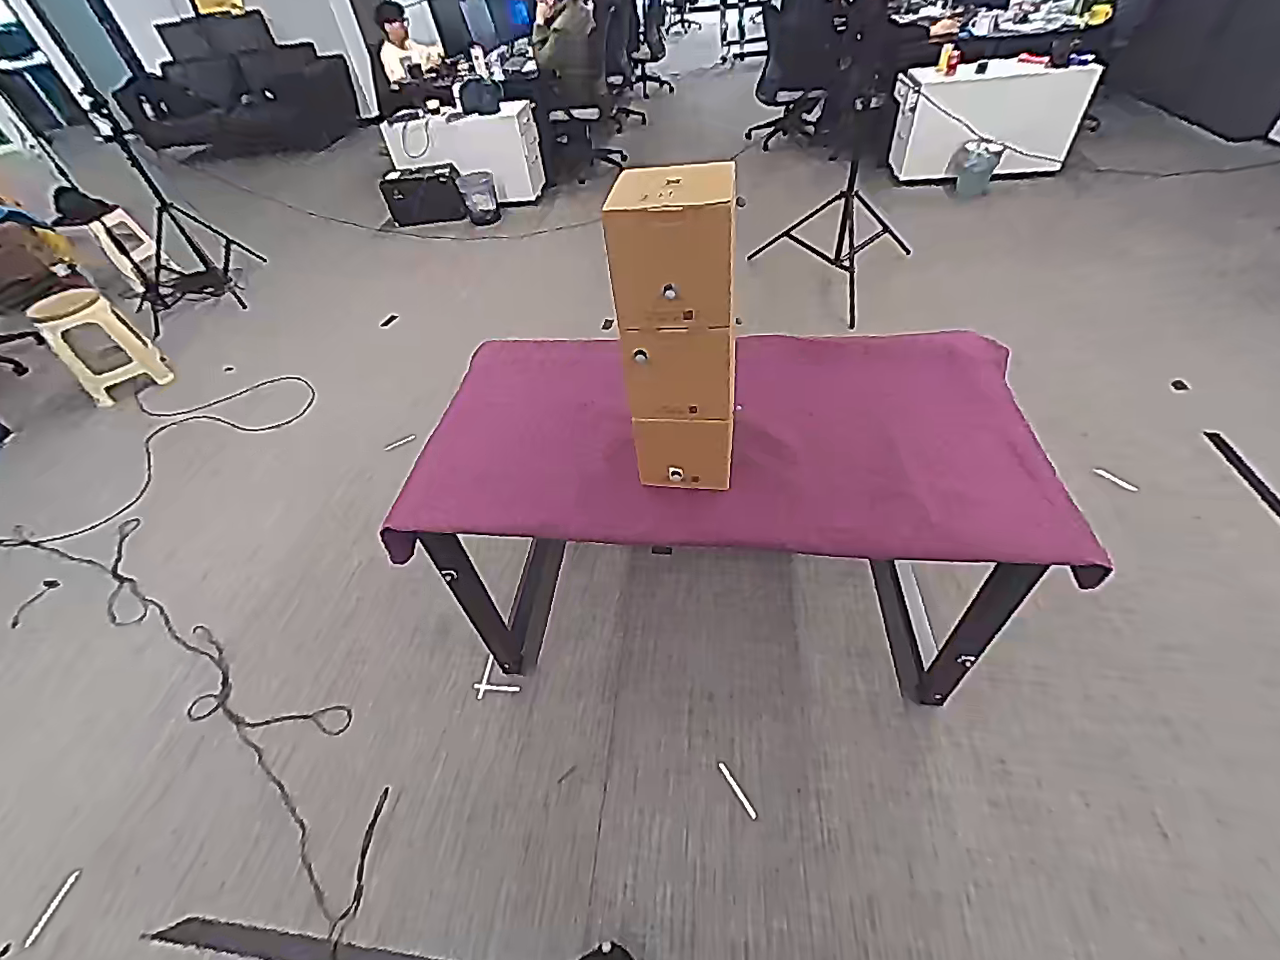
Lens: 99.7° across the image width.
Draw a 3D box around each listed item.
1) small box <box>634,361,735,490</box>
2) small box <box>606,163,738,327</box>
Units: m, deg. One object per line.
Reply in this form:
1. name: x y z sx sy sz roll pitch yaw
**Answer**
1. small box: 0.090 -0.104 1.014 0.168 0.176 0.179 2 47 11
2. small box: 0.055 -0.340 0.787 0.168 0.176 0.179 1 45 10
